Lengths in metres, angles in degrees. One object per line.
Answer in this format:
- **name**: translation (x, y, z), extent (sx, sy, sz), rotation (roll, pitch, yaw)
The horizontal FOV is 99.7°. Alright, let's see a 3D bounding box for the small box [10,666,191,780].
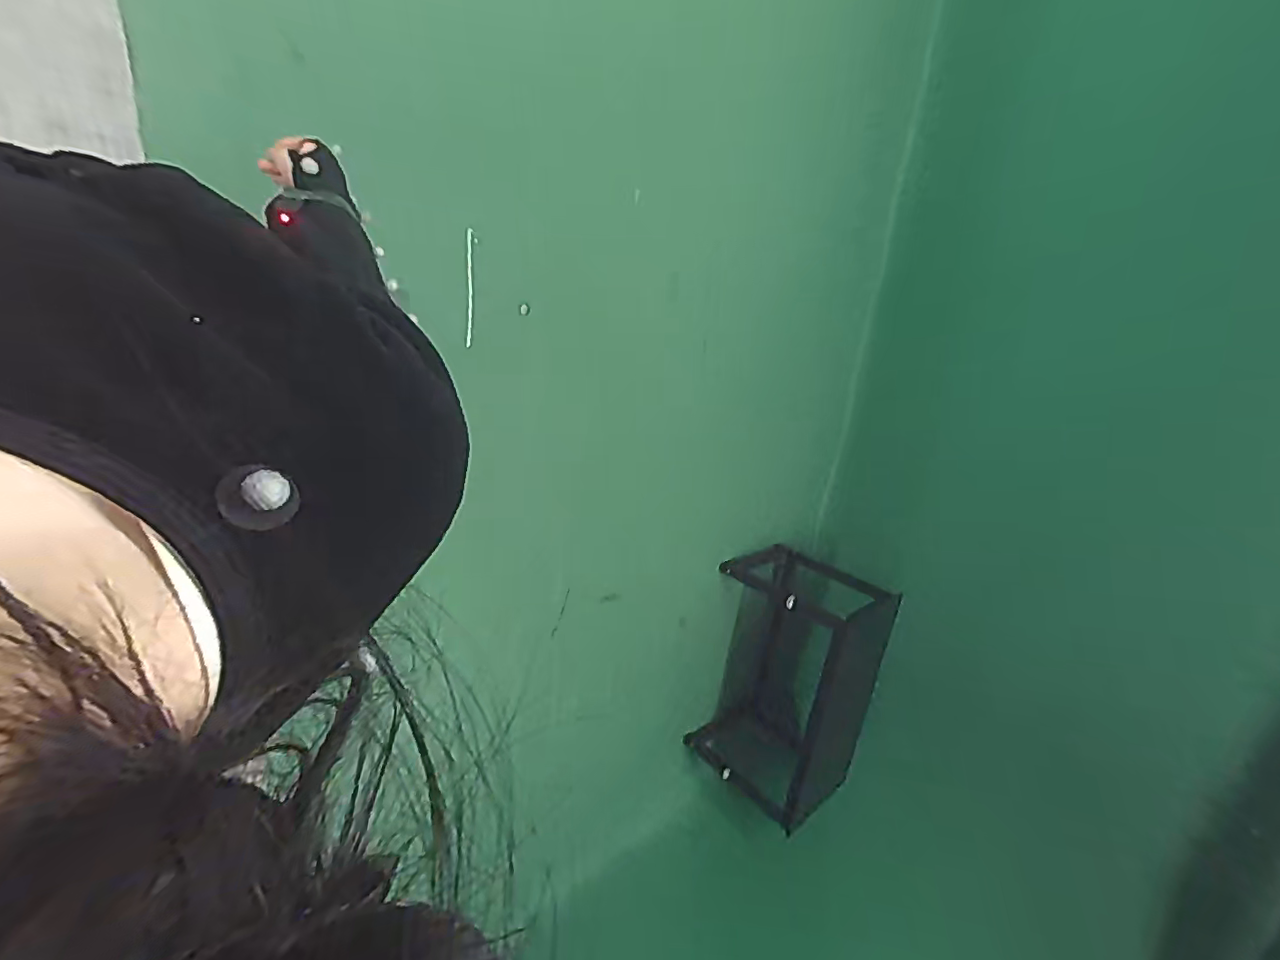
- **small box**: translation (-0.924, 0.453, 0.939), extent (0.168, 0.176, 0.179), rotation (-26, 124, -34)

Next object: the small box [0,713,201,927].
- **small box**: translation (-0.817, 0.504, 0.826), extent (0.179, 0.176, 0.168), rotation (-28, 125, -34)
